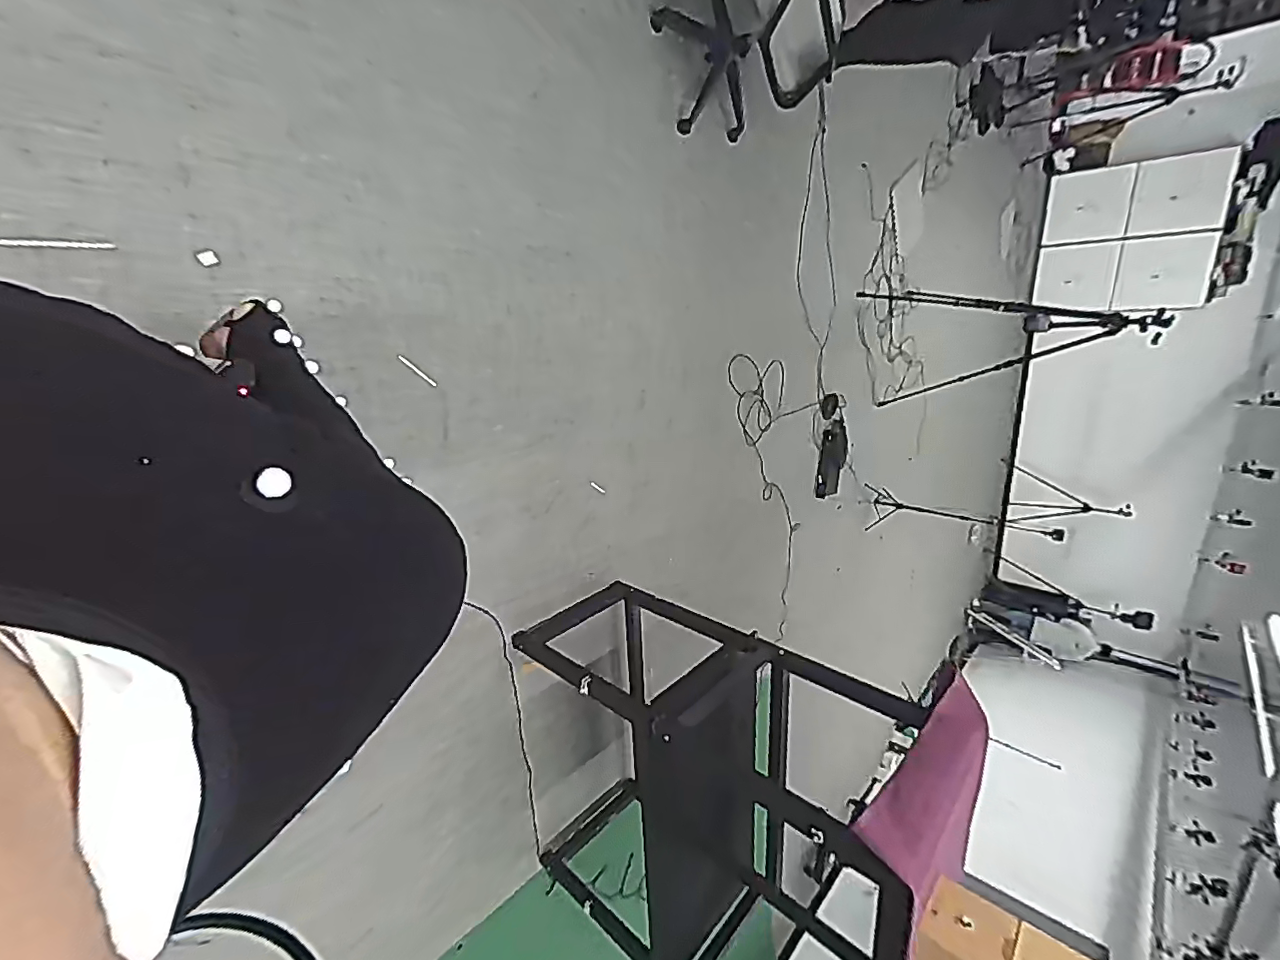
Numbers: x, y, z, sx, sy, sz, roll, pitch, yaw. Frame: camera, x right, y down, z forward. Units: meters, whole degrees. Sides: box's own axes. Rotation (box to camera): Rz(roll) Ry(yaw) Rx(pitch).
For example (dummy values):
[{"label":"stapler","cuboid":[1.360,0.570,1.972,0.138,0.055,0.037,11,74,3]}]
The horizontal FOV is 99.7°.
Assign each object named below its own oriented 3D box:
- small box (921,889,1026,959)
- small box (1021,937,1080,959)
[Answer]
[{"label":"small box","cuboid":[0.732,1.061,1.197,0.168,0.176,0.179,-22,114,-43]},{"label":"small box","cuboid":[0.852,1.085,1.090,0.168,0.176,0.179,-23,117,-43]}]
